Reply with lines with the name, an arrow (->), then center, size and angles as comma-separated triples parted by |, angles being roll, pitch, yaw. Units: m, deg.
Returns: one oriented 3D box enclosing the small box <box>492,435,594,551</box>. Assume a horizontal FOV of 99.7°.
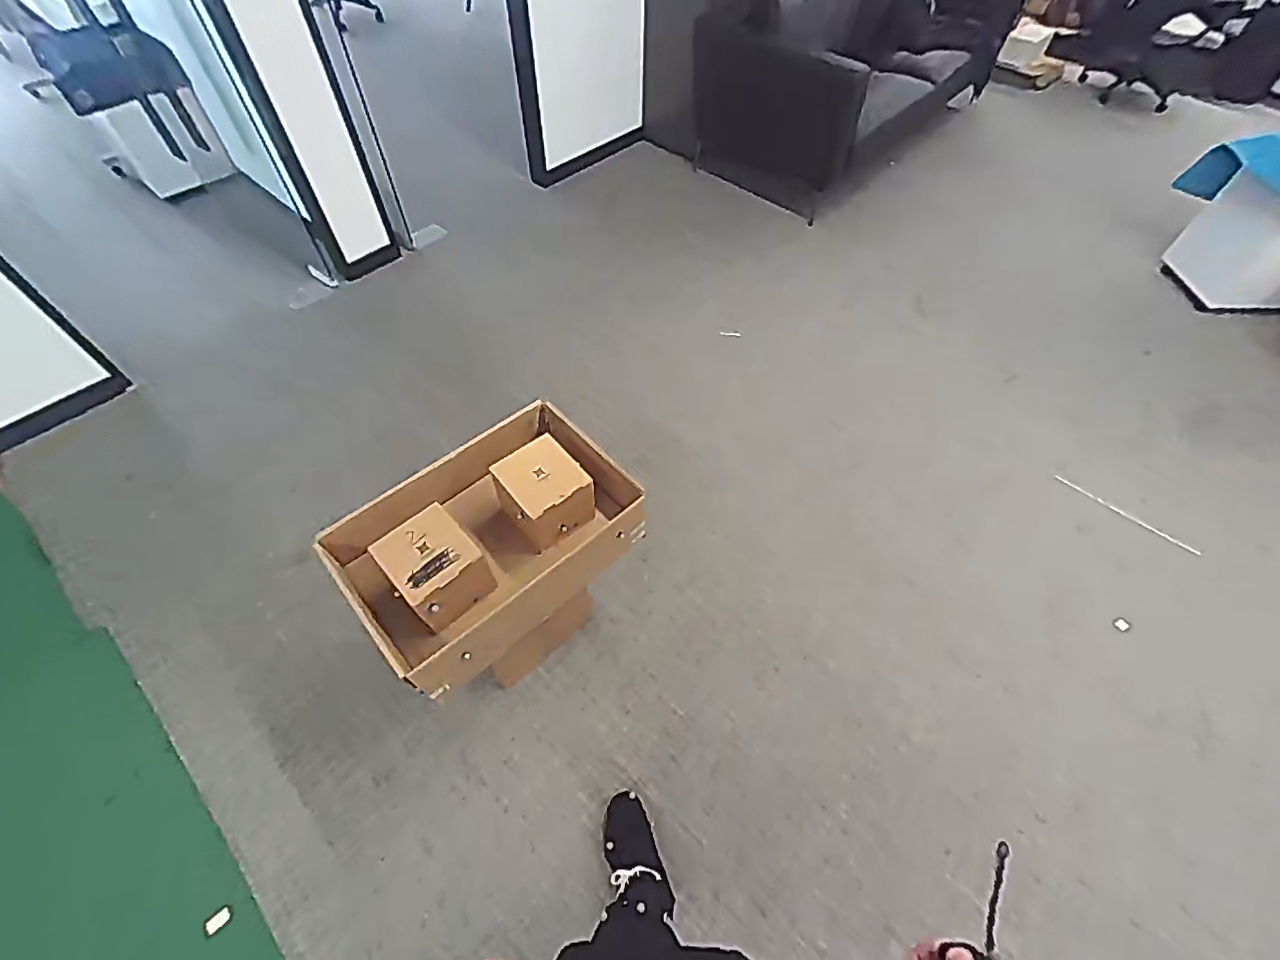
small box -> -0.223, 0.033, 1.273 | 0.168, 0.176, 0.179 | -34, 64, -23
